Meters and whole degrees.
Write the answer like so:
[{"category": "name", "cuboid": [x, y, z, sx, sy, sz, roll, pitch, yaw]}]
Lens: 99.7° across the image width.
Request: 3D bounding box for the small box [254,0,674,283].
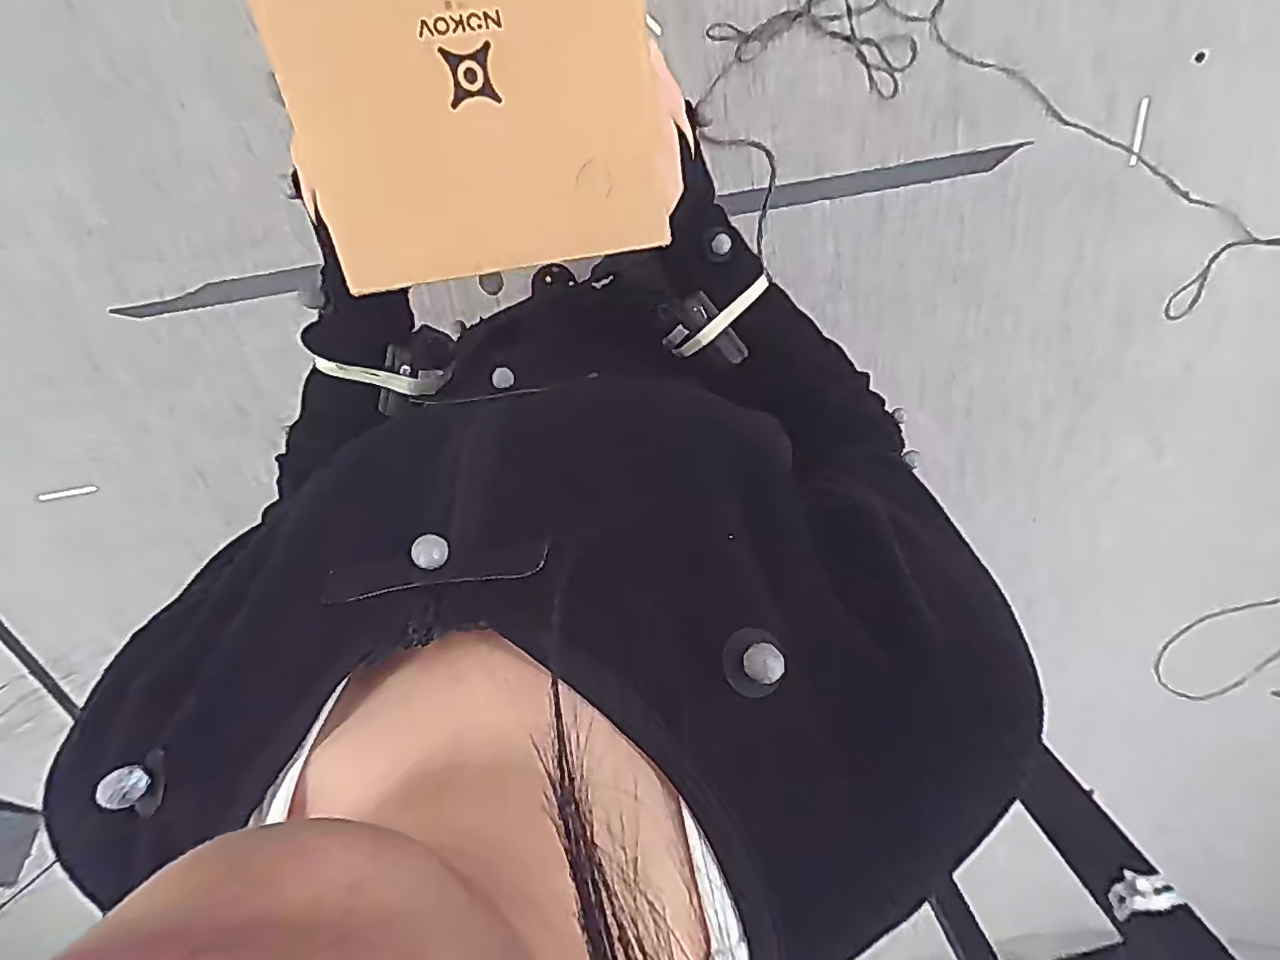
[{"category": "small box", "cuboid": [-0.083, -0.220, 0.305, 0.168, 0.176, 0.179, -11, 114, -4]}]
